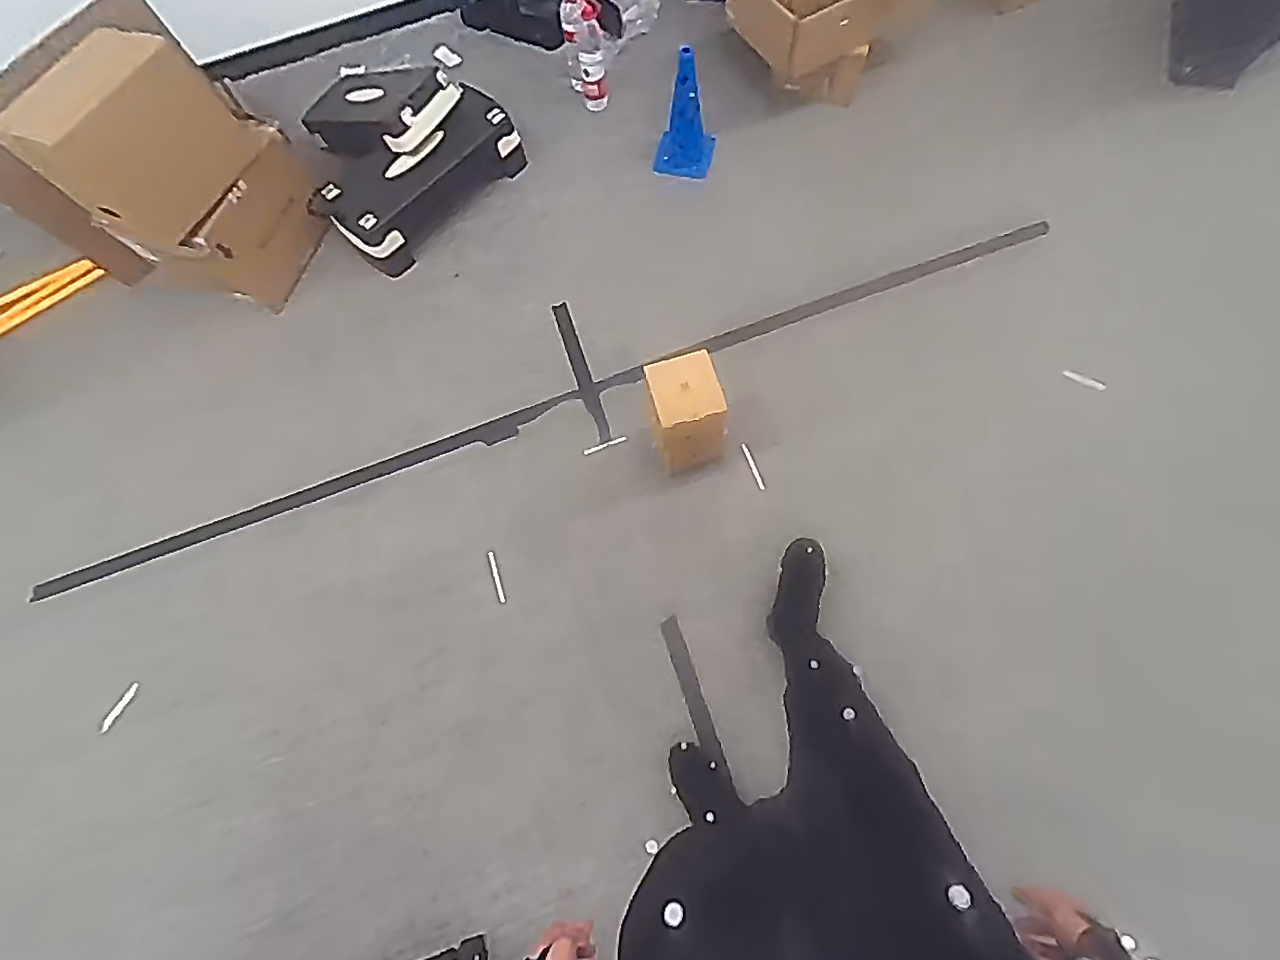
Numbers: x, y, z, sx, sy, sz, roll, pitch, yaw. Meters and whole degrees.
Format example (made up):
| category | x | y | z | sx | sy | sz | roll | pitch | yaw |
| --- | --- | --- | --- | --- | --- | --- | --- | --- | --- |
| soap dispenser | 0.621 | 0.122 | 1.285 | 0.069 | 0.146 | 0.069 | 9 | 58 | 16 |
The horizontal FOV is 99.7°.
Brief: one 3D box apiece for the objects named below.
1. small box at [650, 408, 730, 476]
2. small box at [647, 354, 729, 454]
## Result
| category | x | y | z | sx | sy | sz | roll | pitch | yaw |
| --- | --- | --- | --- | --- | --- | --- | --- | --- | --- |
| small box | 0.137 | -0.131 | 1.538 | 0.179 | 0.176 | 0.168 | -21 | 72 | -2 |
| small box | 0.118 | -0.190 | 1.387 | 0.168 | 0.176 | 0.179 | -16 | 73 | -2 |
